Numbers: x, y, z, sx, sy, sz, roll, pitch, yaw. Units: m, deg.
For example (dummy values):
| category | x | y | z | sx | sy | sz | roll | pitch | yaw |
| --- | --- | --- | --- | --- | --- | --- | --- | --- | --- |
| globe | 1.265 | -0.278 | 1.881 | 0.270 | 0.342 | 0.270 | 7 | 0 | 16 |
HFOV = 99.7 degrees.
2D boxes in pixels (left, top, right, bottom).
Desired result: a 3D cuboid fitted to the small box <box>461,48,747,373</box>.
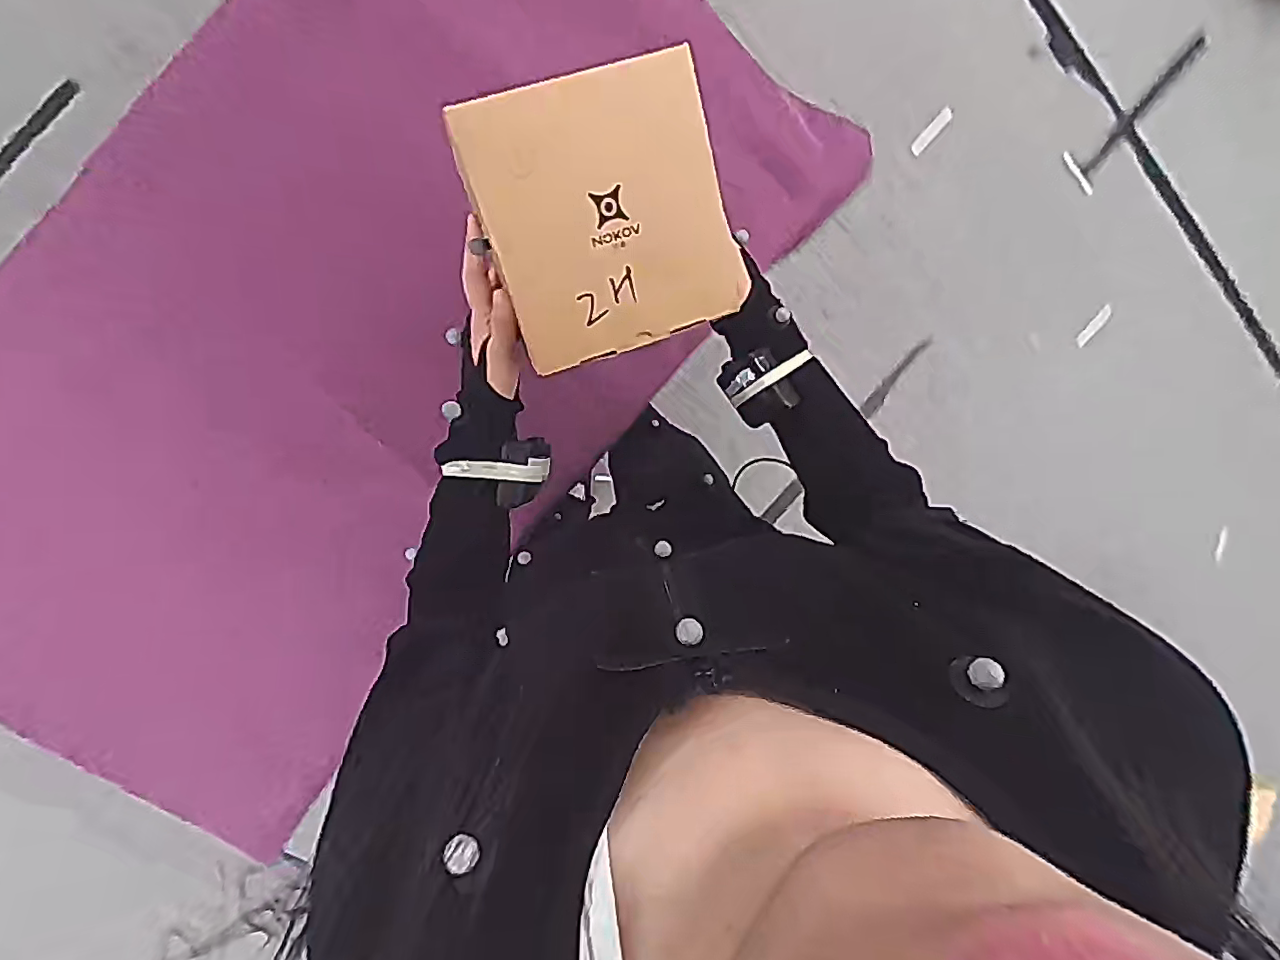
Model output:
| category | x | y | z | sx | sy | sz | roll | pitch | yaw |
| --- | --- | --- | --- | --- | --- | --- | --- | --- | --- |
| small box | -0.034 | -0.203 | 0.444 | 0.168 | 0.176 | 0.179 | -19 | 113 | -7 |
